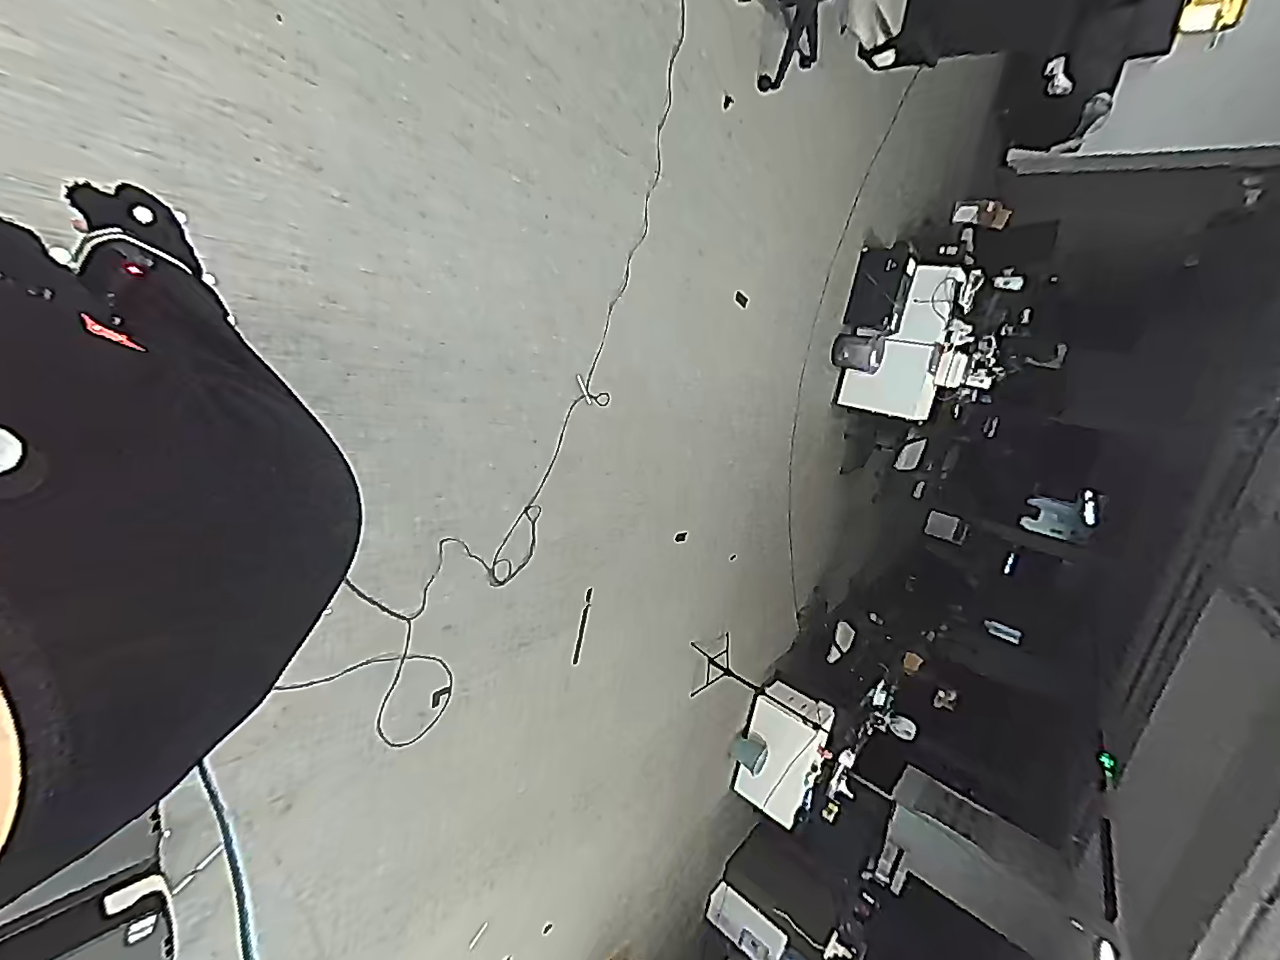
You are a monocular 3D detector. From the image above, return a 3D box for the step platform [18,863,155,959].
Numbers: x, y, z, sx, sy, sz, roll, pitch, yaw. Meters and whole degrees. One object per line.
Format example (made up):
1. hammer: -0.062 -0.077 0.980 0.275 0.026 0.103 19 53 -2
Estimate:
1. step platform: -1.445 1.144 1.101 0.684 0.204 0.286 -8 113 -49
